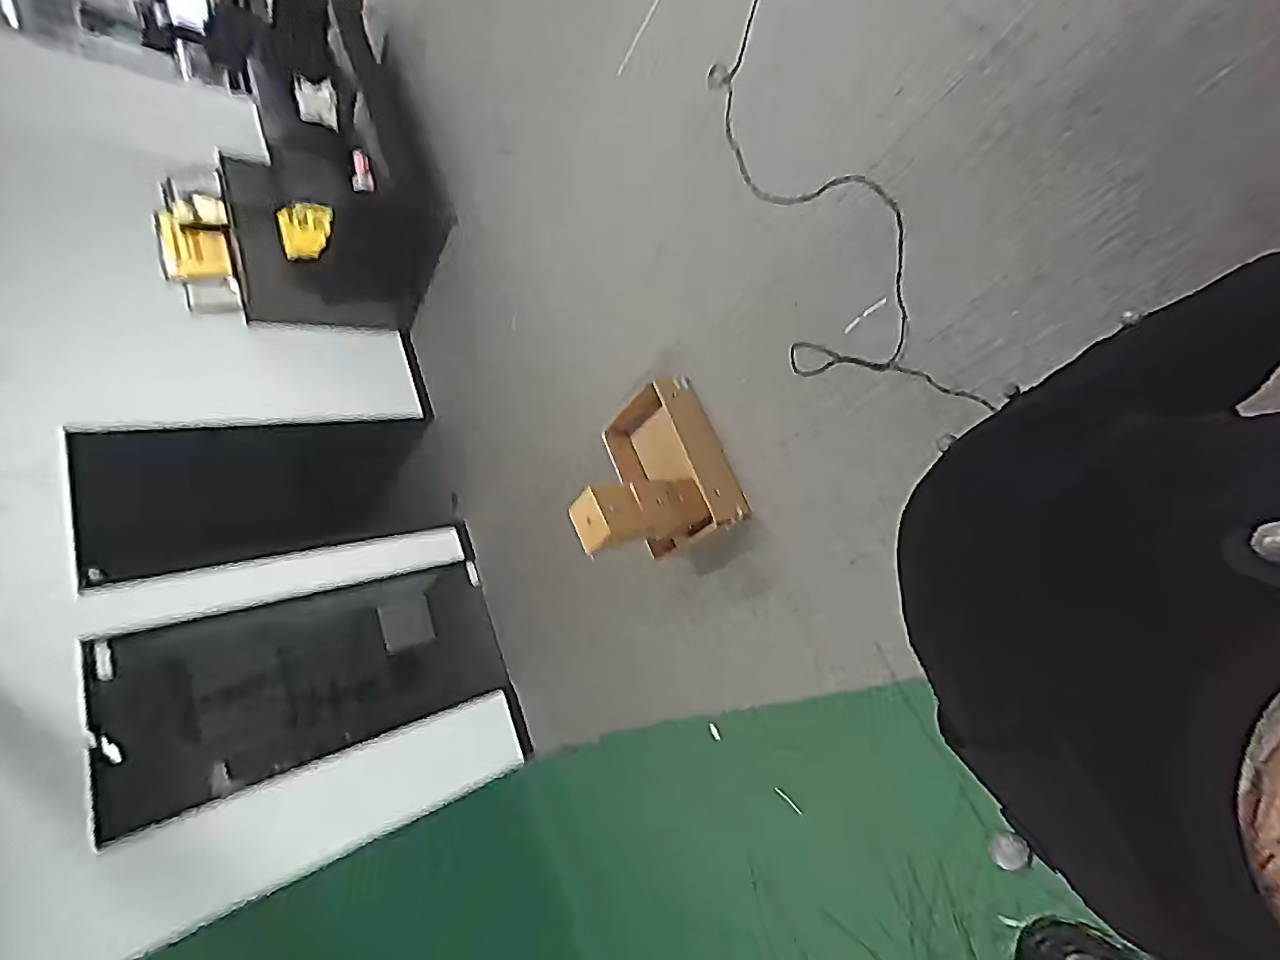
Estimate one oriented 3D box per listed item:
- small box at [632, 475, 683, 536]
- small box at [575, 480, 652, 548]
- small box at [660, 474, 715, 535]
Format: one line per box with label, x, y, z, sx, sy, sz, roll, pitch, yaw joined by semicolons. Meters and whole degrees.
small box;0.033;0.093;1.962;0.179;0.176;0.168;-39;66;45
small box;-0.090;0.112;1.858;0.168;0.176;0.179;-47;61;41
small box;0.156;0.089;2.071;0.168;0.176;0.179;-44;62;43
